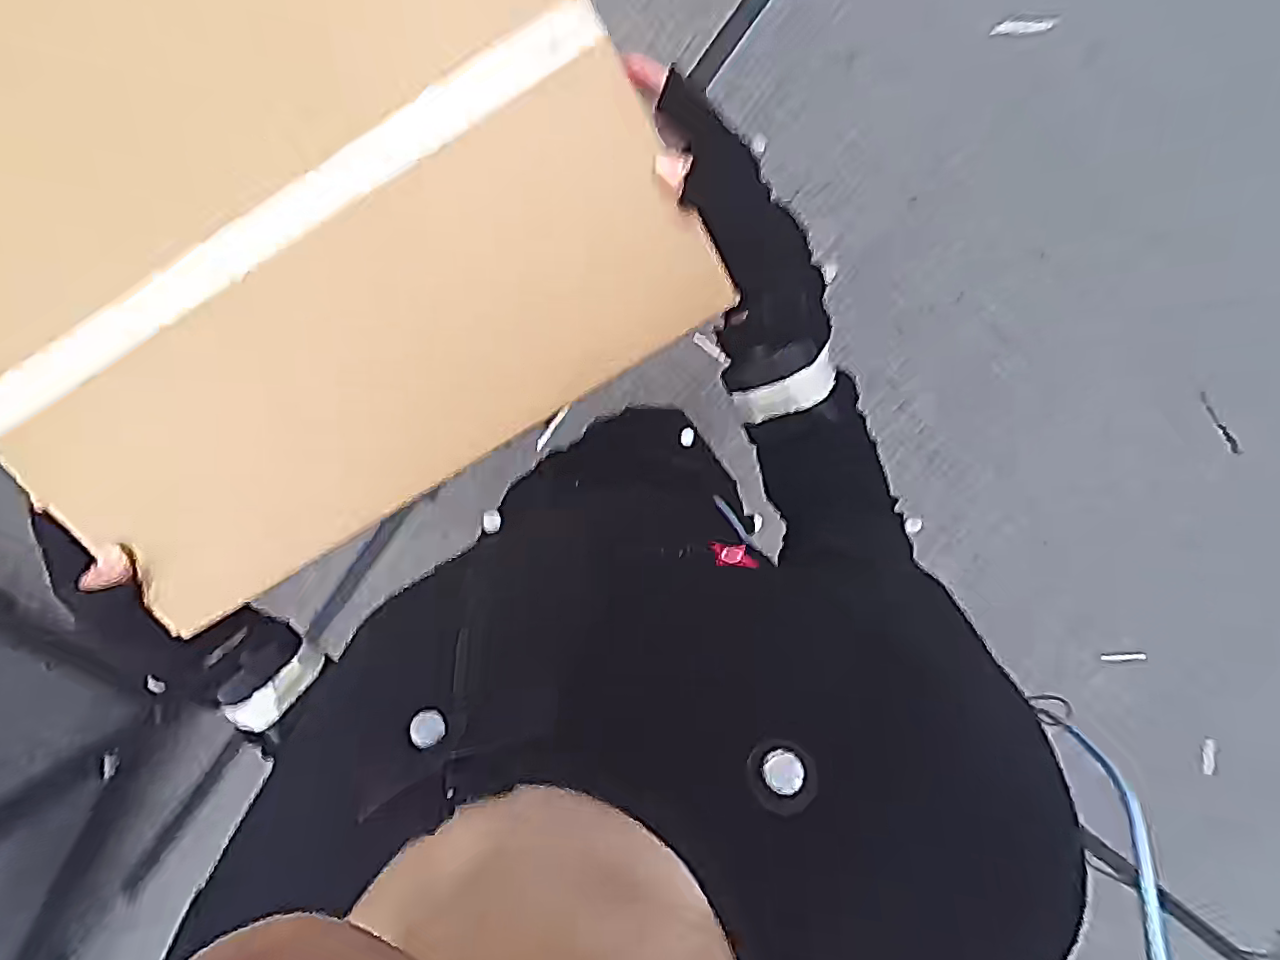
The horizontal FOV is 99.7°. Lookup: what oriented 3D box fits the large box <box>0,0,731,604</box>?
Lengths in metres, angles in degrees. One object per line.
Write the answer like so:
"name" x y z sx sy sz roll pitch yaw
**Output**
"large box" -0.199 -0.179 0.443 0.408 0.320 0.320 -30 107 4
